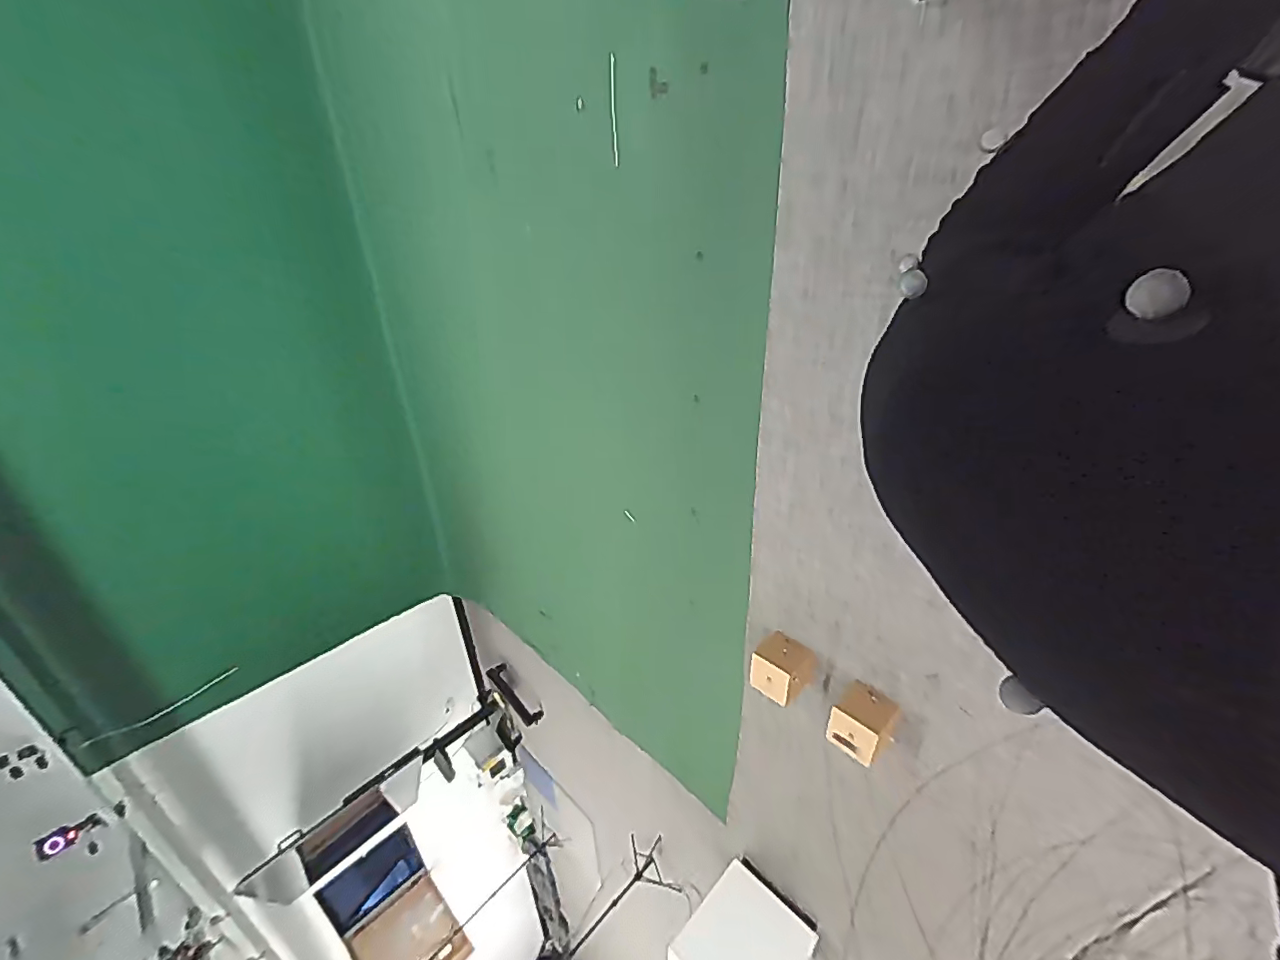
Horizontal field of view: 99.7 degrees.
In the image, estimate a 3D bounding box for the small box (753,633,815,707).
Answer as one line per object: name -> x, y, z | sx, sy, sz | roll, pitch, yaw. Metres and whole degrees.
small box -> 0.560, 0.731, 2.097 | 0.168, 0.176, 0.179 | 25, 128, 40
